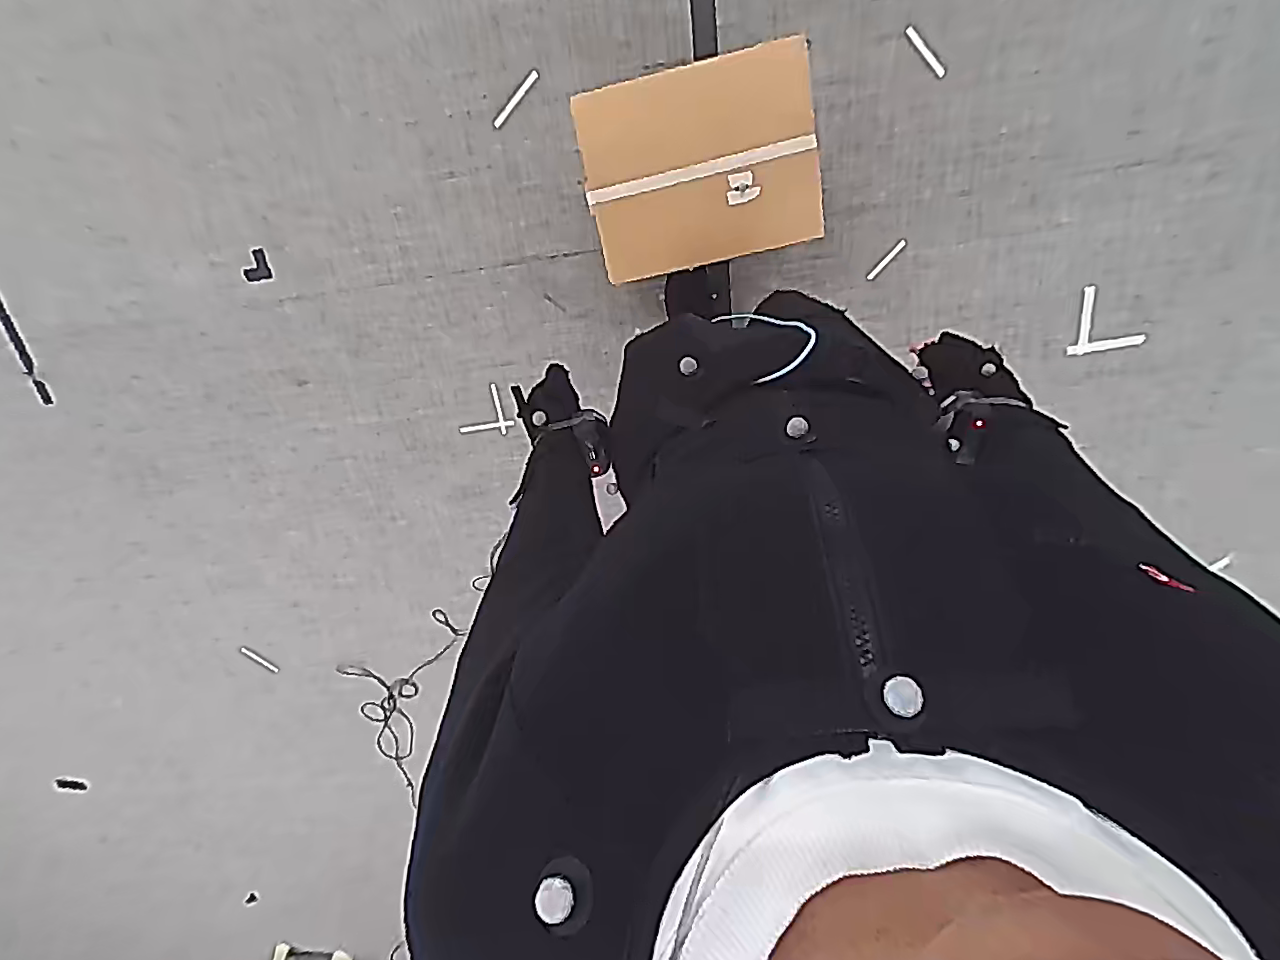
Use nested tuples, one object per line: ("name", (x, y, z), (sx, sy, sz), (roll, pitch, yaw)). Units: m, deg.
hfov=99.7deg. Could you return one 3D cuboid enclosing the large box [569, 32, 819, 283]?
("large box", (0.105, -0.606, 1.090), (0.408, 0.320, 0.320), (-11, 113, 6))
